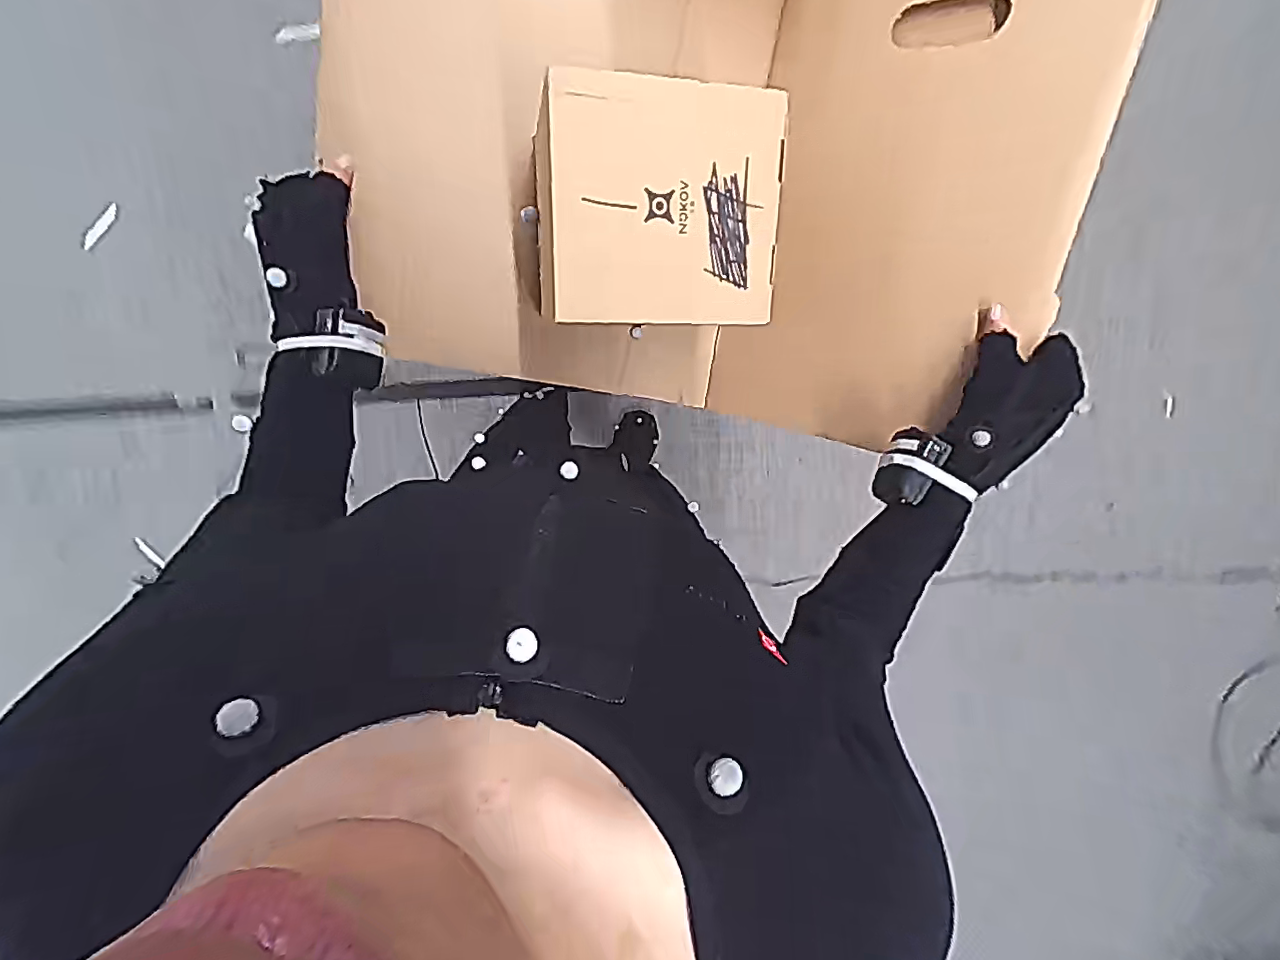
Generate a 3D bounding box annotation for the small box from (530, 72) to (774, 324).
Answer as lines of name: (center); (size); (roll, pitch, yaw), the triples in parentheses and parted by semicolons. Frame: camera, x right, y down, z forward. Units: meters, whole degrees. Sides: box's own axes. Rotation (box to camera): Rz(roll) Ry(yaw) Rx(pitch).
small box: (-0.002, -0.228, 0.483); (0.179, 0.176, 0.168); (-4, 108, -12)
